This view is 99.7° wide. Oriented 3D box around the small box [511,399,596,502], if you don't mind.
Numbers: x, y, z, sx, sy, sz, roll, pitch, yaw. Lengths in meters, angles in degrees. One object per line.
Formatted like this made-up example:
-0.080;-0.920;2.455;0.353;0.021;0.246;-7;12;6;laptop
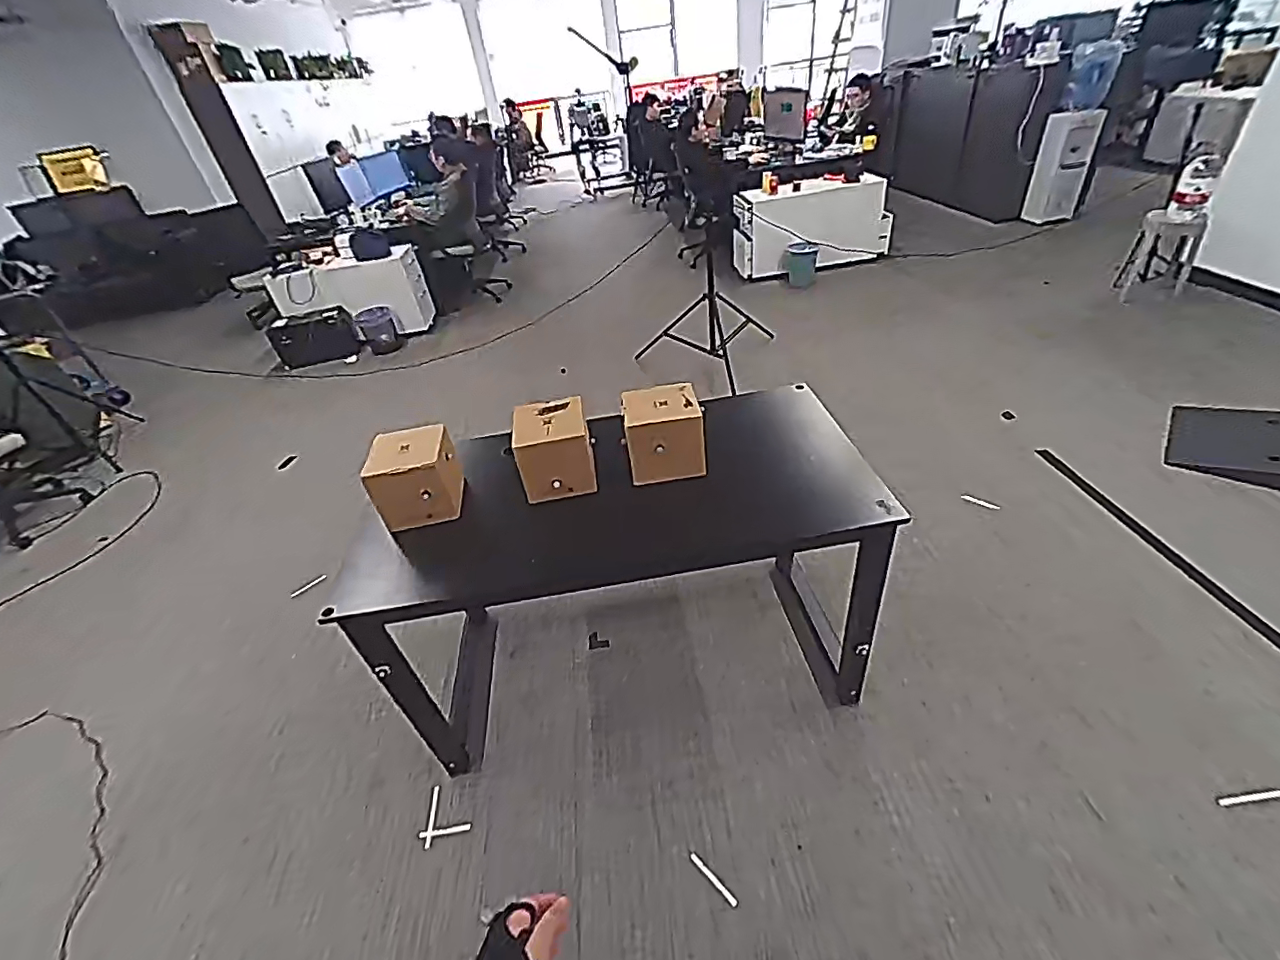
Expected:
-0.202;-0.071;1.295;0.168;0.176;0.179;-10;38;-2;small box

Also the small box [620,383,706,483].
0.055;-0.108;1.295;0.179;0.176;0.168;-9;37;1;small box

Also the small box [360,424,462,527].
-0.528;-0.006;1.276;0.168;0.176;0.179;-11;37;-5;small box
